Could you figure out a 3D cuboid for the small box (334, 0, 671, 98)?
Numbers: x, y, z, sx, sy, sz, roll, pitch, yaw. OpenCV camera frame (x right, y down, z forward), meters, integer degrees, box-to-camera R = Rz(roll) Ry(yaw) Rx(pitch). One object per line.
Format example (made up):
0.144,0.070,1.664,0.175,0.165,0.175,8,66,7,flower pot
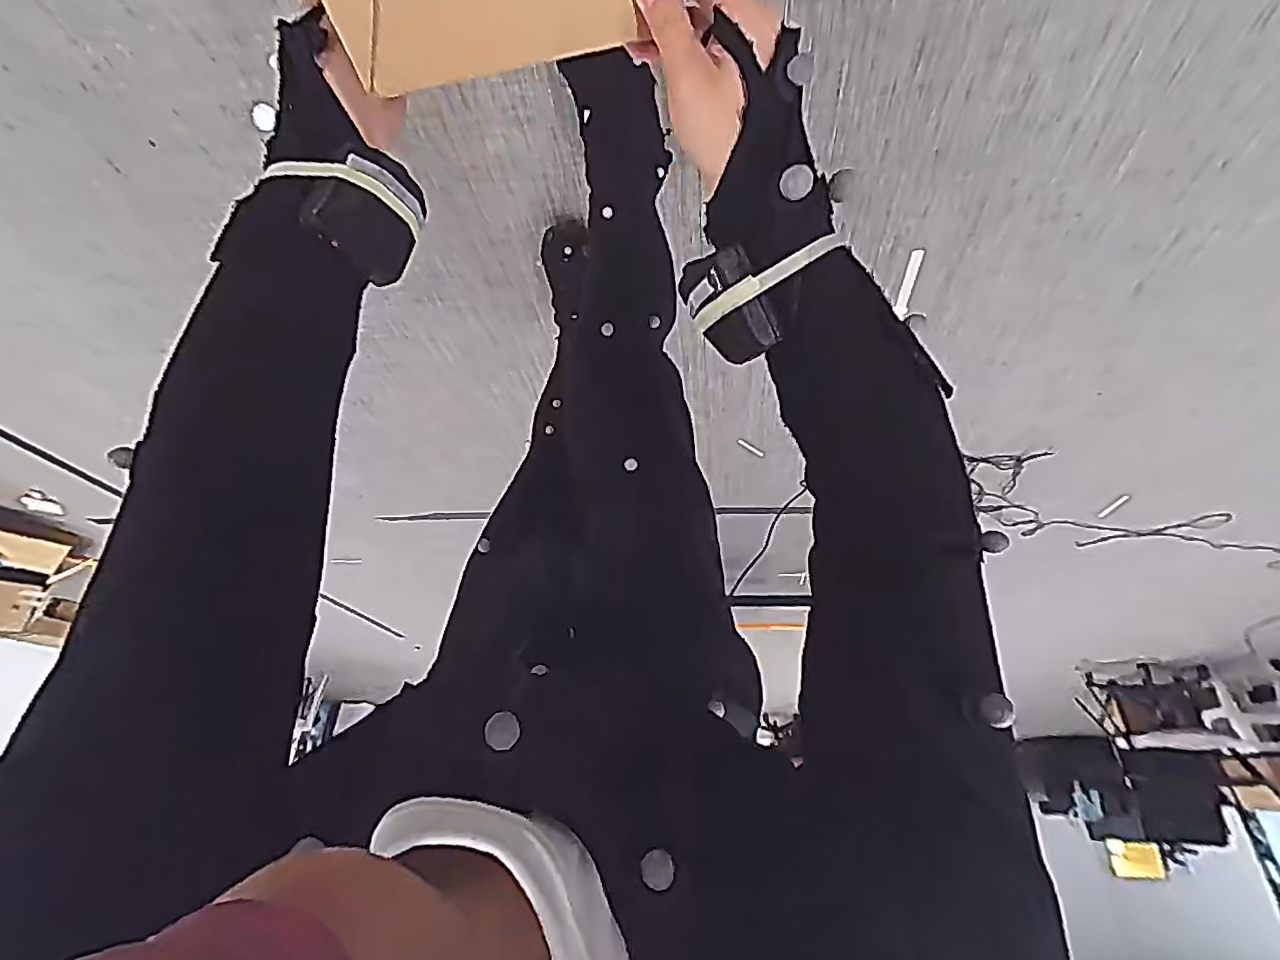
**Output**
-0.082,-0.325,0.248,0.168,0.176,0.179,-13,150,-1,small box
